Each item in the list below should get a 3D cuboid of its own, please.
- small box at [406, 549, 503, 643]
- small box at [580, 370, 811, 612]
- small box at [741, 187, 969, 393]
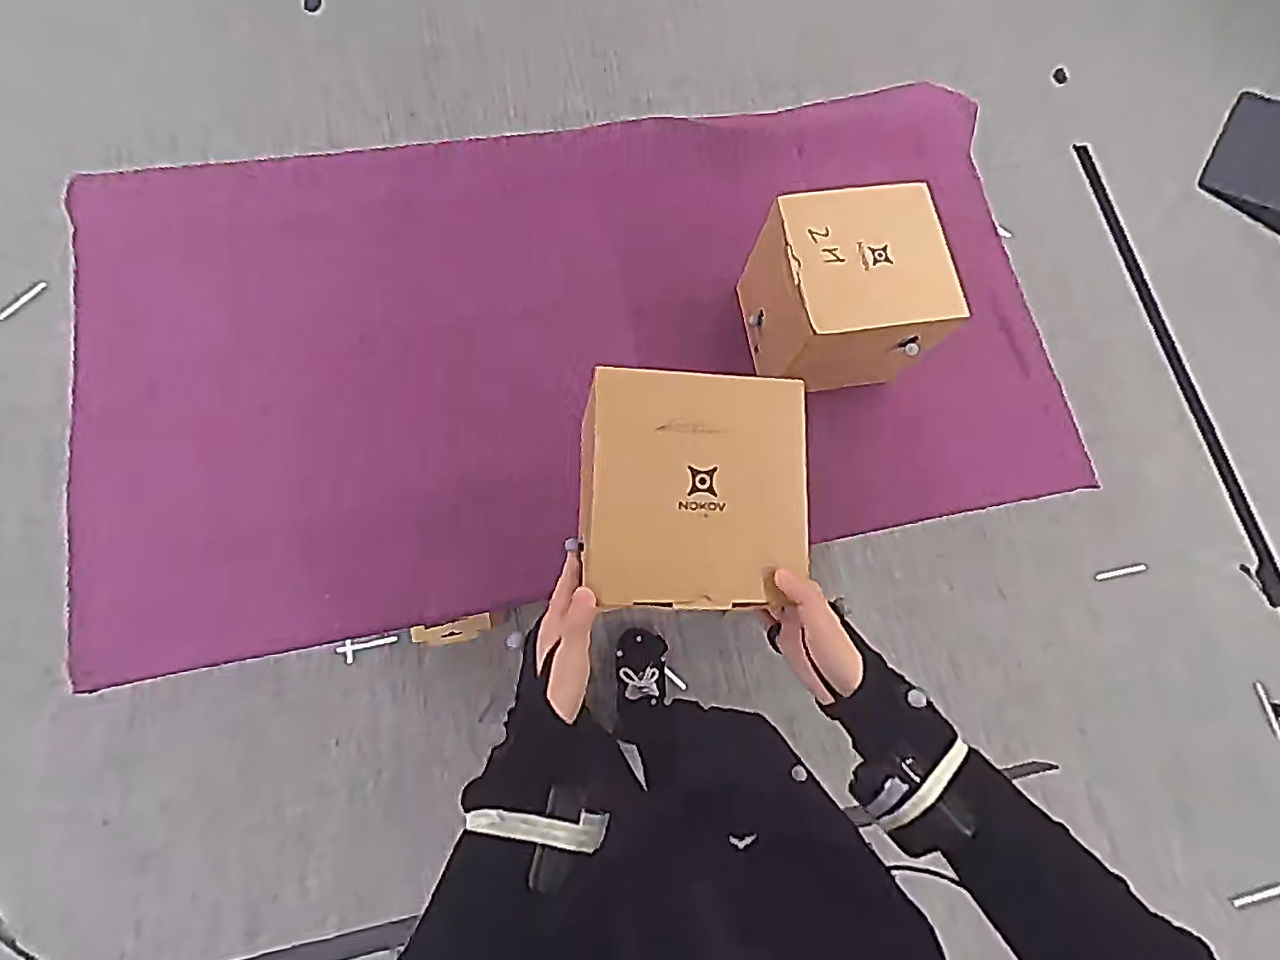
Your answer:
[{"bbox_3d":[-0.413,0.261,1.226,0.168,0.176,0.179,-9,77,-8],"label":"small box"},{"bbox_3d":[0.036,0.019,0.477,0.168,0.176,0.179,2,81,-10],"label":"small box"},{"bbox_3d":[0.237,-0.212,0.641,0.179,0.176,0.168,-8,77,-6],"label":"small box"}]
